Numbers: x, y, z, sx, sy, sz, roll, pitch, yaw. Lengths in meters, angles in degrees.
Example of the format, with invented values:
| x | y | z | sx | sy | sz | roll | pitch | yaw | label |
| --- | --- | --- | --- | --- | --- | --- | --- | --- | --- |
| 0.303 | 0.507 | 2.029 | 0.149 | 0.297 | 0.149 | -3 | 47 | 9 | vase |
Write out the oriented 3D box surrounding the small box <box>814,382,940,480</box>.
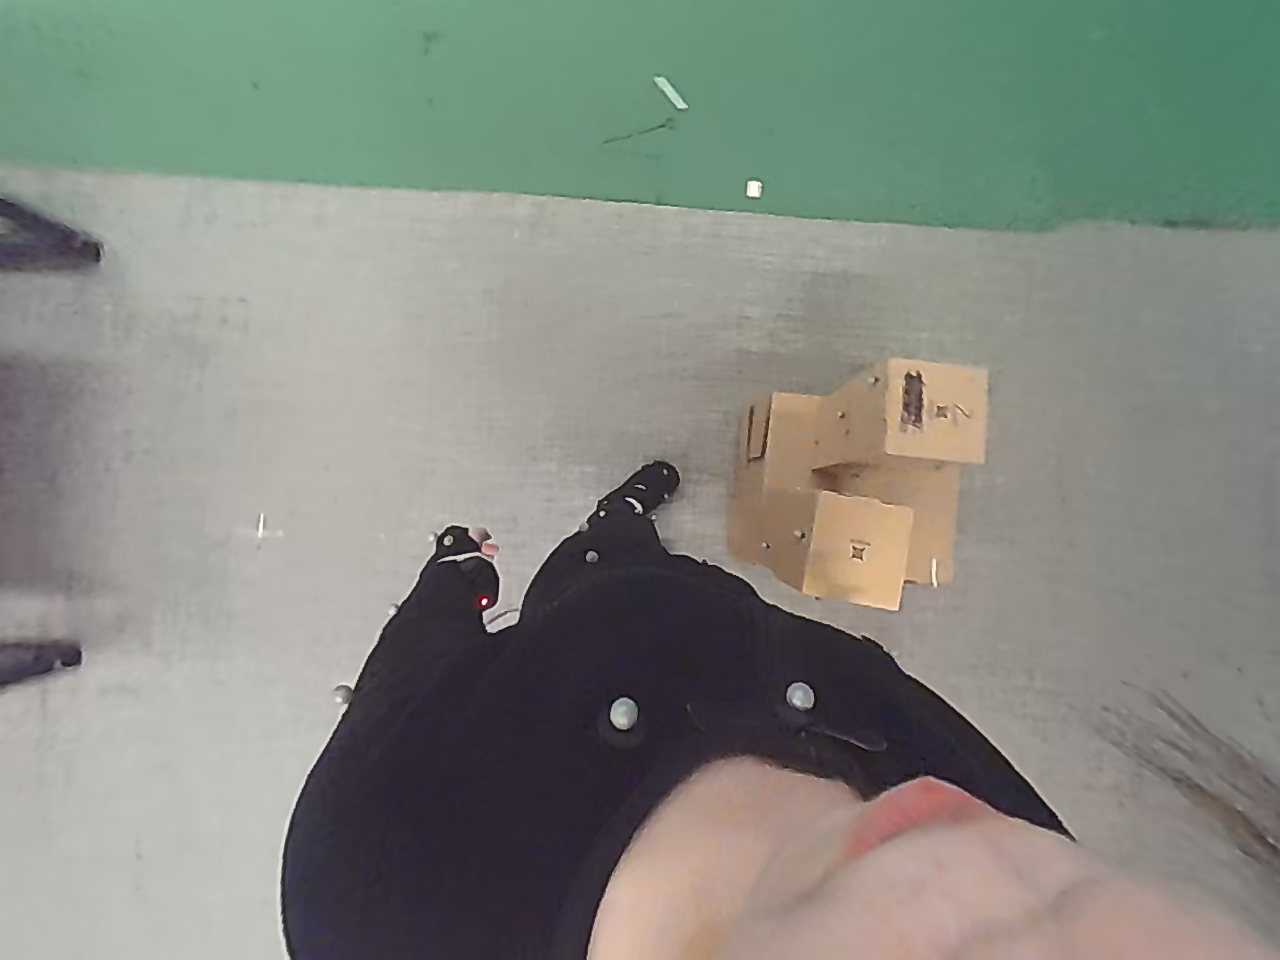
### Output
| x | y | z | sx | sy | sz | roll | pitch | yaw | label |
| --- | --- | --- | --- | --- | --- | --- | --- | --- | --- |
| 0.492 | -0.095 | 1.142 | 0.179 | 0.176 | 0.168 | 10 | 86 | -3 | small box |

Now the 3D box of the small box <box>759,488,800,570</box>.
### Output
| x | y | z | sx | sy | sz | roll | pitch | yaw | label |
| --- | --- | --- | --- | --- | --- | --- | --- | --- | --- |
| 0.359 | 0.115 | 1.124 | 0.179 | 0.176 | 0.168 | 10 | 88 | -3 | small box |

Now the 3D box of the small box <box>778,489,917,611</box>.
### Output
| x | y | z | sx | sy | sz | roll | pitch | yaw | label |
| --- | --- | --- | --- | --- | --- | --- | --- | --- | --- |
| 0.357 | 0.116 | 0.962 | 0.168 | 0.176 | 0.179 | 11 | 88 | -2 | small box |
